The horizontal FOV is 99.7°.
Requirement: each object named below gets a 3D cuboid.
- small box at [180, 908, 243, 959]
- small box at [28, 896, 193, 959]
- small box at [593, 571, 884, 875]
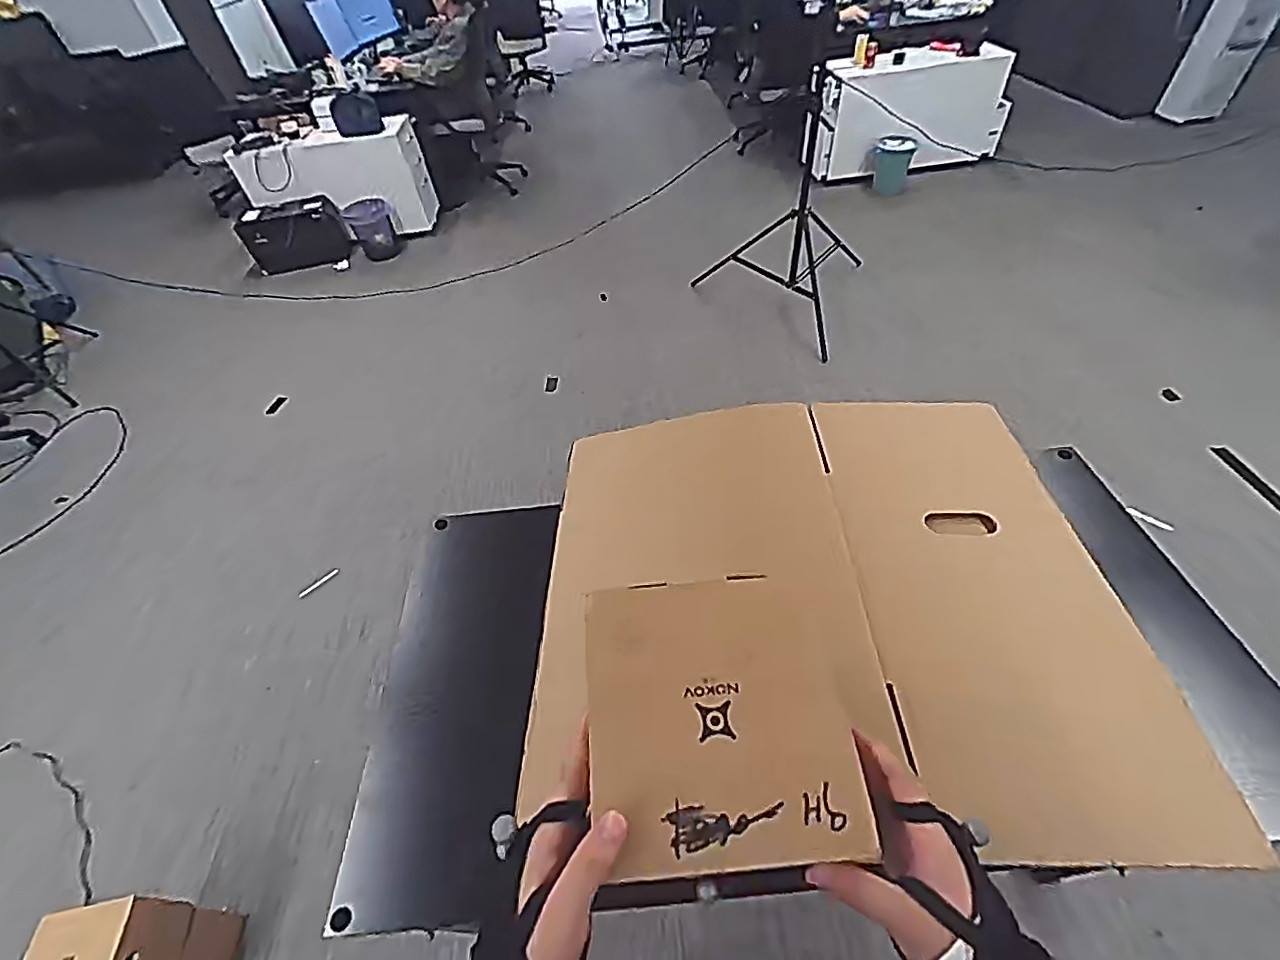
[{"bbox_3d":[-0.968,1.013,1.114,0.168,0.176,0.179,-10,49,-2],"label":"small box"},{"bbox_3d":[-0.984,0.901,0.998,0.168,0.176,0.179,-11,47,-5],"label":"small box"},{"bbox_3d":[0.055,0.189,0.416,0.168,0.176,0.179,-6,56,0],"label":"small box"}]
